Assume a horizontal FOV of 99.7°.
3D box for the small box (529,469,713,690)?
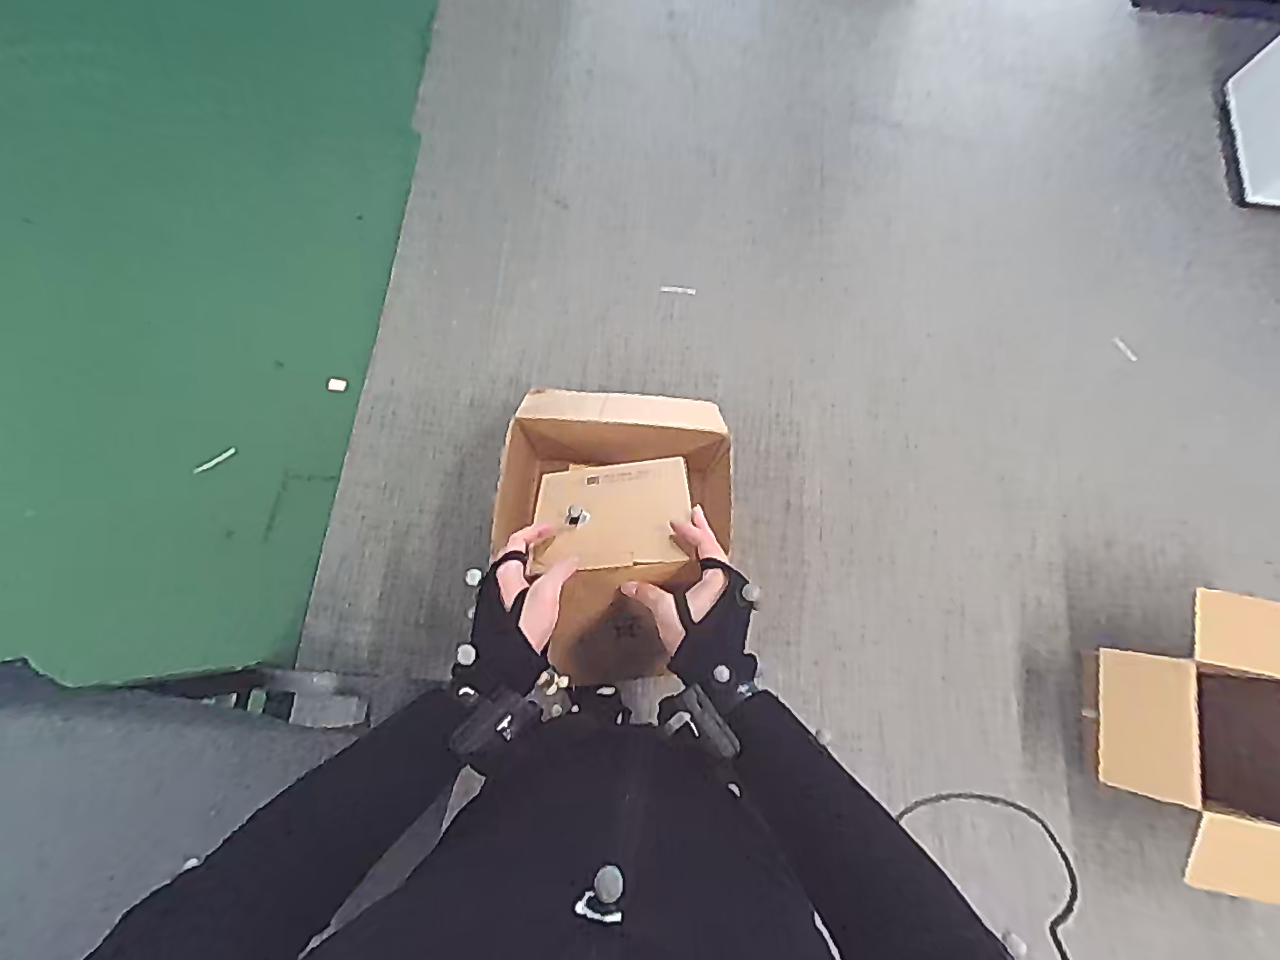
[{"bbox_3d":[-0.015,0.101,0.598,0.168,0.179,0.176,-7,37,4],"label":"small box"}]
